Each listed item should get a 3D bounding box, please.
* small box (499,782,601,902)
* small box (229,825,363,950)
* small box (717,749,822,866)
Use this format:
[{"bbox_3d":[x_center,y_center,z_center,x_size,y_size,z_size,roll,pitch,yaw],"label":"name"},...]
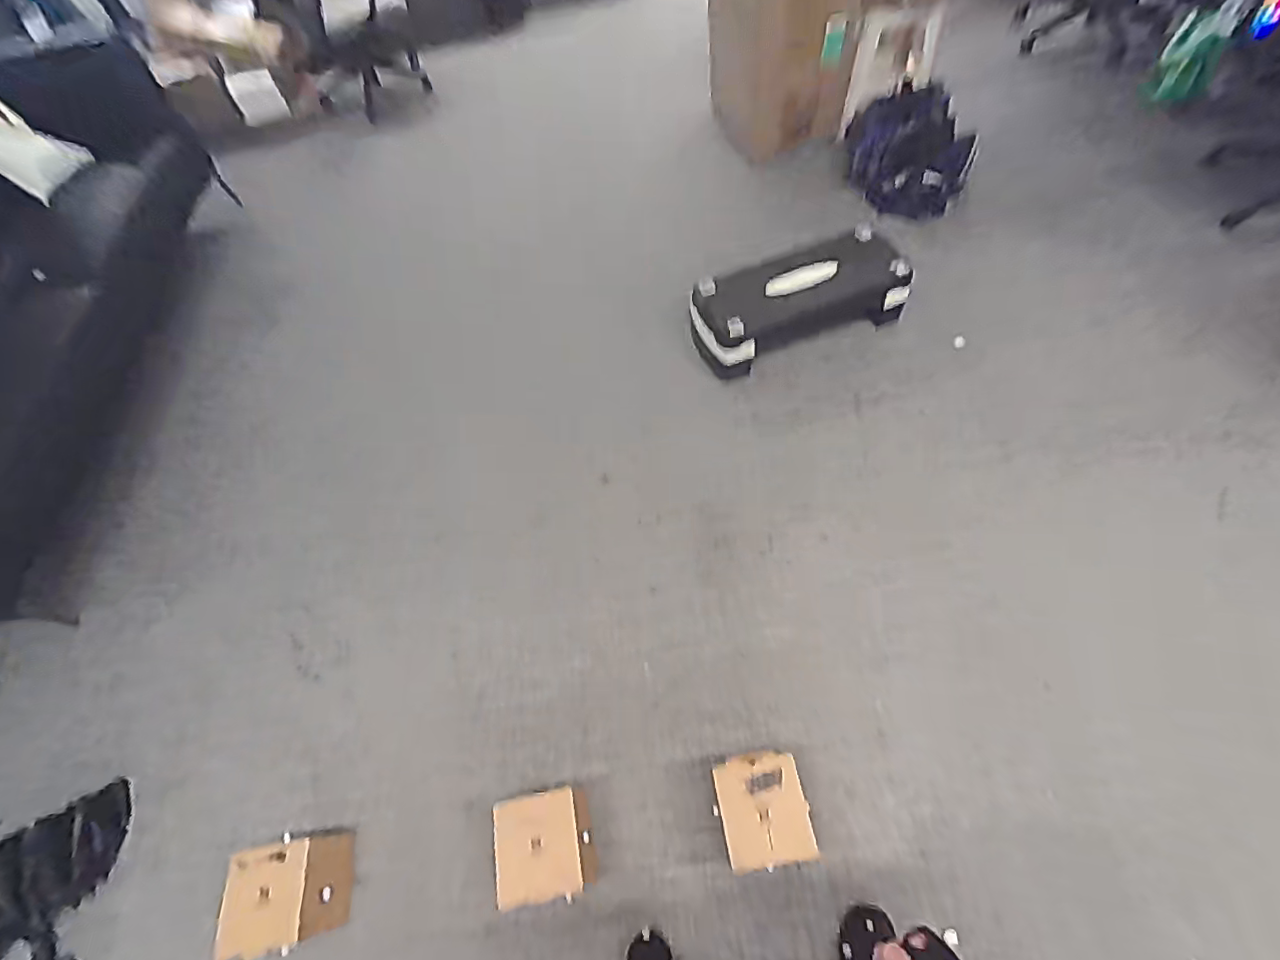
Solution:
[{"bbox_3d":[-0.184,0.746,1.129,0.168,0.176,0.179,-13,58,0],"label":"small box"},{"bbox_3d":[-0.716,0.852,1.147,0.168,0.176,0.179,-12,59,1],"label":"small box"},{"bbox_3d":[0.254,0.665,1.103,0.168,0.176,0.179,-12,59,3],"label":"small box"}]
